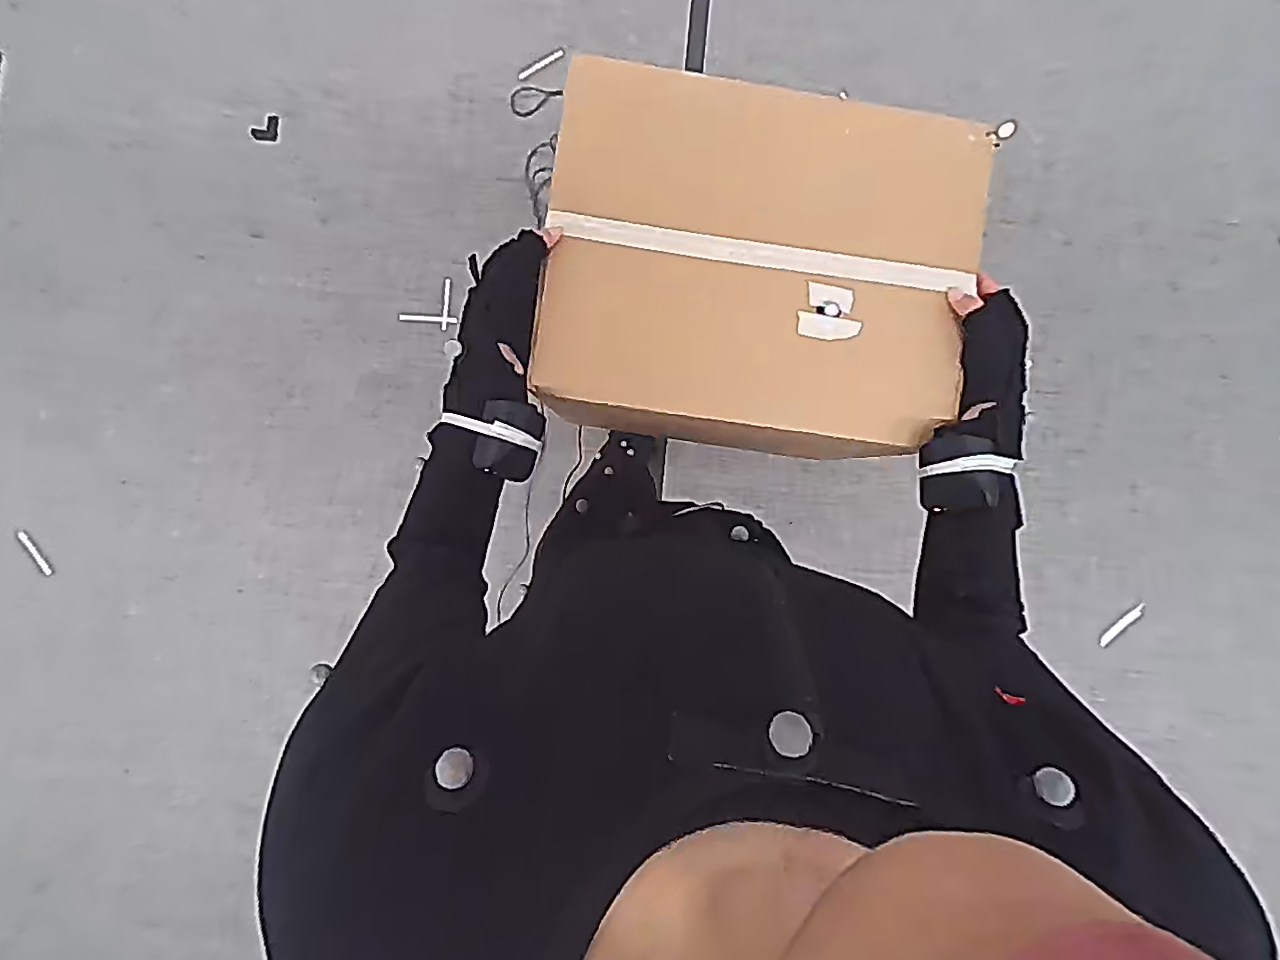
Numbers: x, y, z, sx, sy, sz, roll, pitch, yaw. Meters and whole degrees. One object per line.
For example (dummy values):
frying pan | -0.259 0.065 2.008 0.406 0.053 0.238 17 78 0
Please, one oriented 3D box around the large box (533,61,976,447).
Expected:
large box | 0.104 -0.222 0.666 0.408 0.320 0.320 8 92 -3
